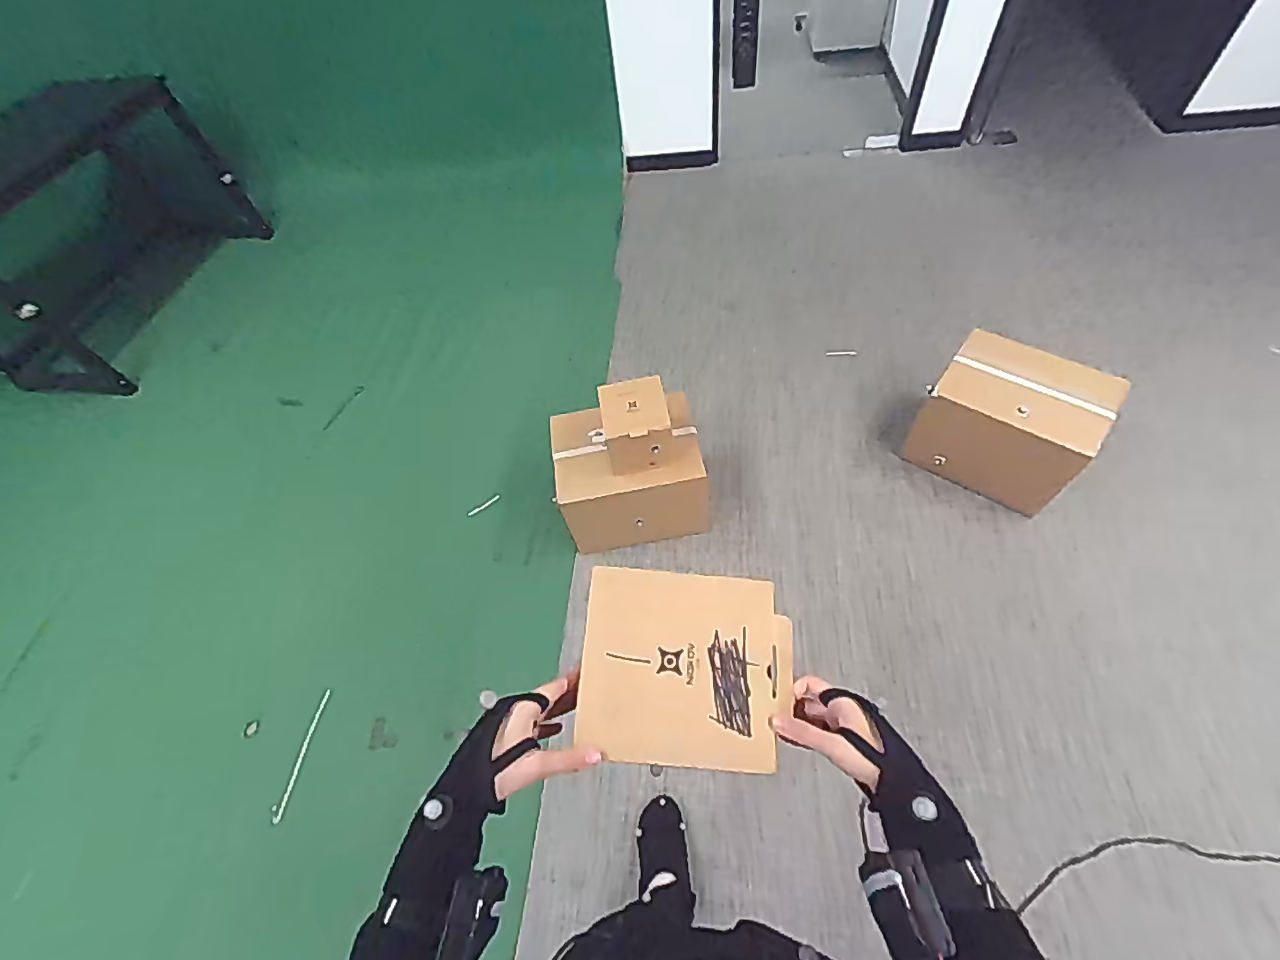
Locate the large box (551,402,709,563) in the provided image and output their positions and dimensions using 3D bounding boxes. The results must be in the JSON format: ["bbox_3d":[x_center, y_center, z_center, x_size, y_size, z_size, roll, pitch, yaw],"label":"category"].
[{"bbox_3d":[-0.024,0.015,1.619,0.408,0.320,0.320,-12,54,1],"label":"large box"}]

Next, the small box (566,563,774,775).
[{"bbox_3d":[0.028,0.192,0.552,0.179,0.176,0.168,6,66,0],"label":"small box"}]

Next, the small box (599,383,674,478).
[{"bbox_3d":[-0.007,-0.121,1.410,0.168,0.176,0.179,-10,55,0],"label":"small box"}]
